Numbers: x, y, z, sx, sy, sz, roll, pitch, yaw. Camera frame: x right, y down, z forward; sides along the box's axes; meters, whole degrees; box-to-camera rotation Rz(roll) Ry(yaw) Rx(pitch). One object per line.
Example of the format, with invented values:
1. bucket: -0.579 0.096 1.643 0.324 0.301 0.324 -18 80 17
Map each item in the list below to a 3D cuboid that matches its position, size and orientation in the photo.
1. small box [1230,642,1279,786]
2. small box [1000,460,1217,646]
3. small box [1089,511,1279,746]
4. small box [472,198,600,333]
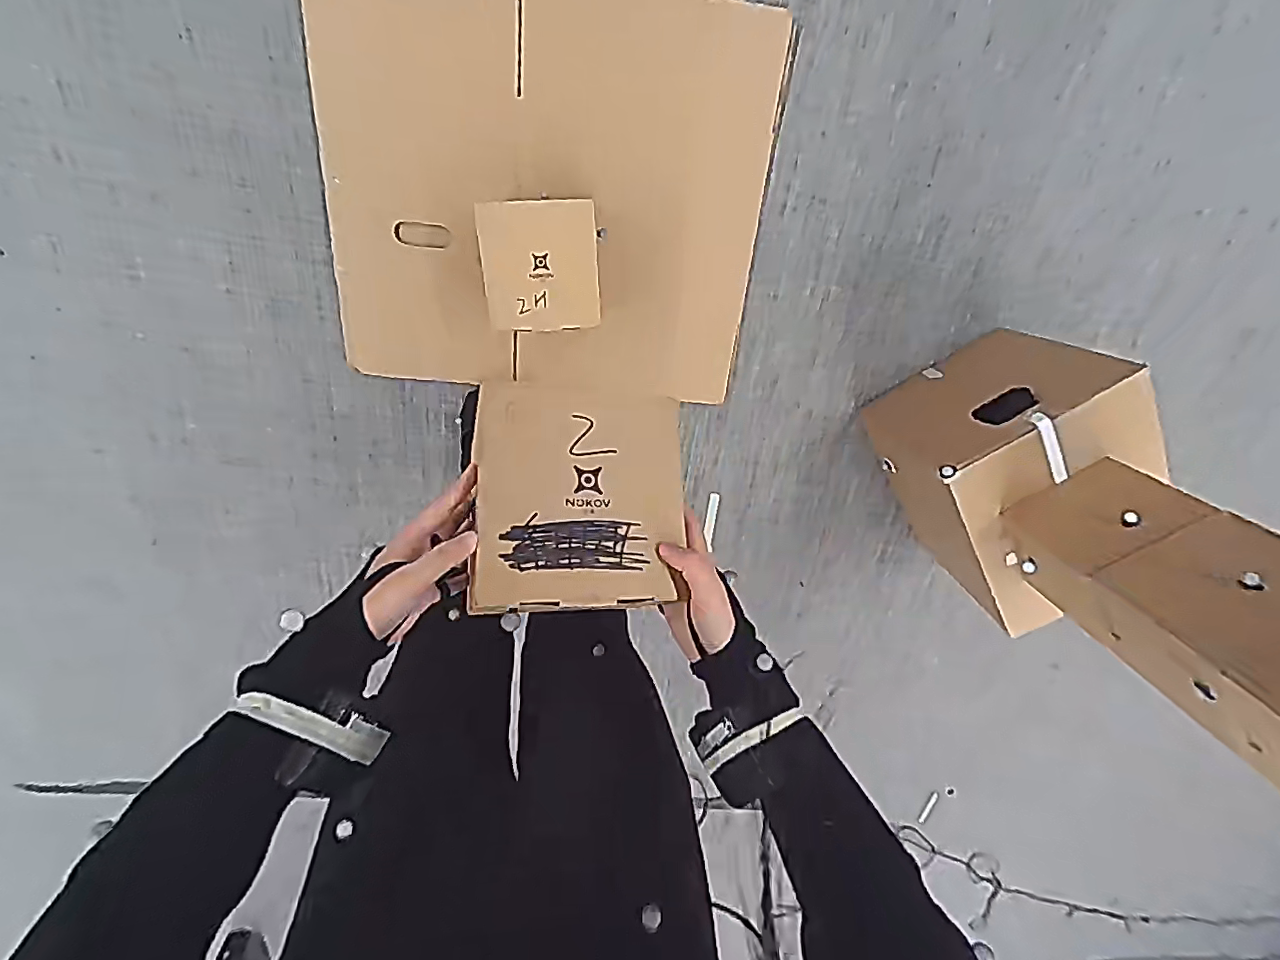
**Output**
1. small box: 0.713 0.242 0.501 0.179 0.176 0.168 -32 114 10
2. small box: 0.682 0.098 0.793 0.179 0.176 0.168 -32 114 11
3. small box: 0.699 0.167 0.646 0.179 0.176 0.168 -32 114 9
4. small box: -0.149 -0.334 0.839 0.168 0.176 0.179 -3 116 -1
